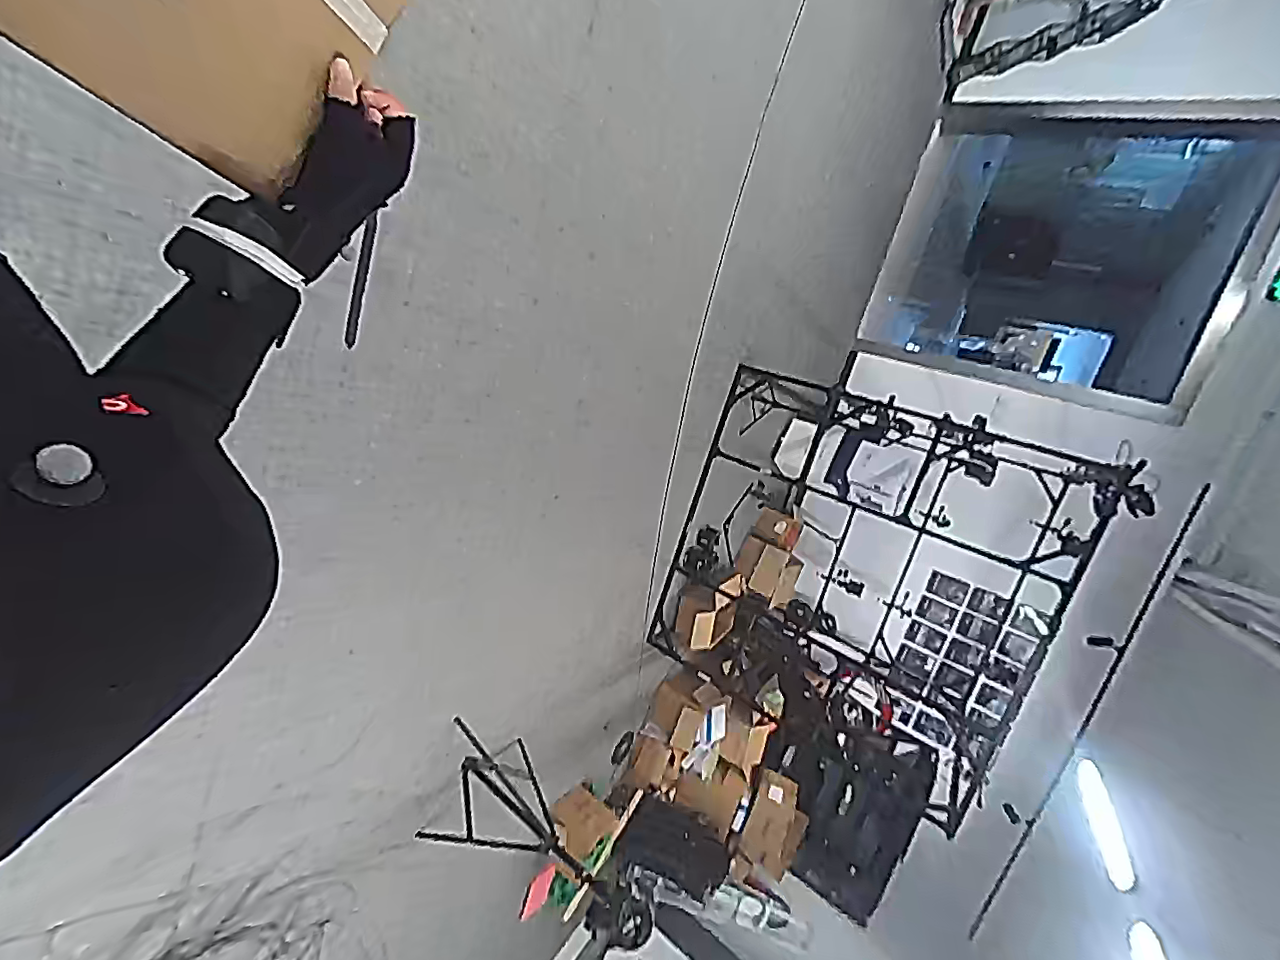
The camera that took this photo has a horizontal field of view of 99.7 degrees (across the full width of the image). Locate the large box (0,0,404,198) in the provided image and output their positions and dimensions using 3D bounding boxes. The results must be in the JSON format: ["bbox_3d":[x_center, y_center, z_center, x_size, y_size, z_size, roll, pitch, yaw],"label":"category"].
[{"bbox_3d":[-0.407,-0.480,0.343,0.320,0.320,0.408,-53,150,5],"label":"large box"}]
